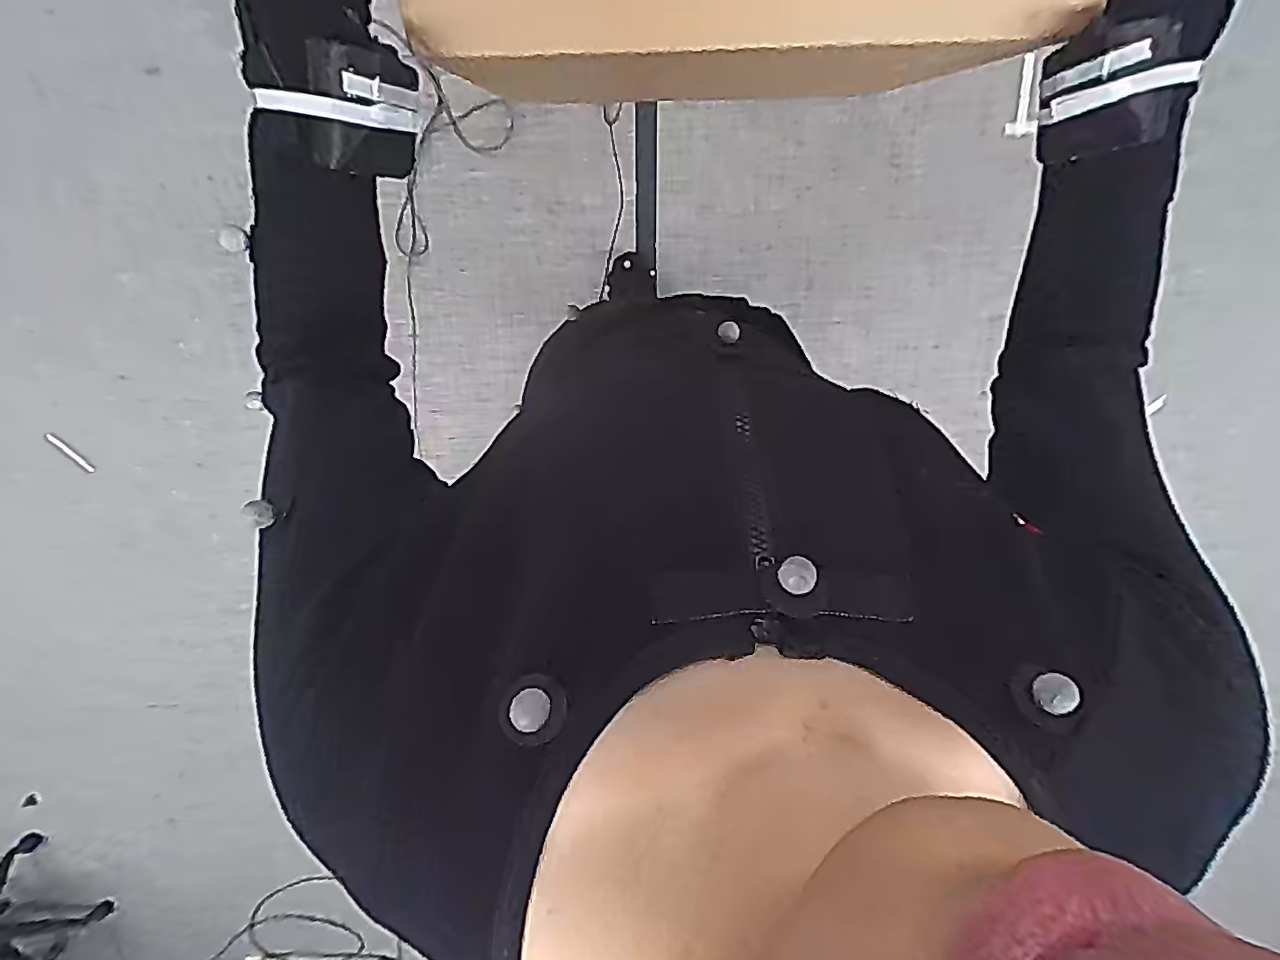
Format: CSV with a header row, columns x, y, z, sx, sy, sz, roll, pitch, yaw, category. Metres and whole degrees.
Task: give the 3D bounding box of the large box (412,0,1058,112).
x,y,z,sx,sy,sz,roll,pitch,yaw,category
0.045,-0.478,0.389,0.408,0.320,0.320,-4,120,-1,large box
